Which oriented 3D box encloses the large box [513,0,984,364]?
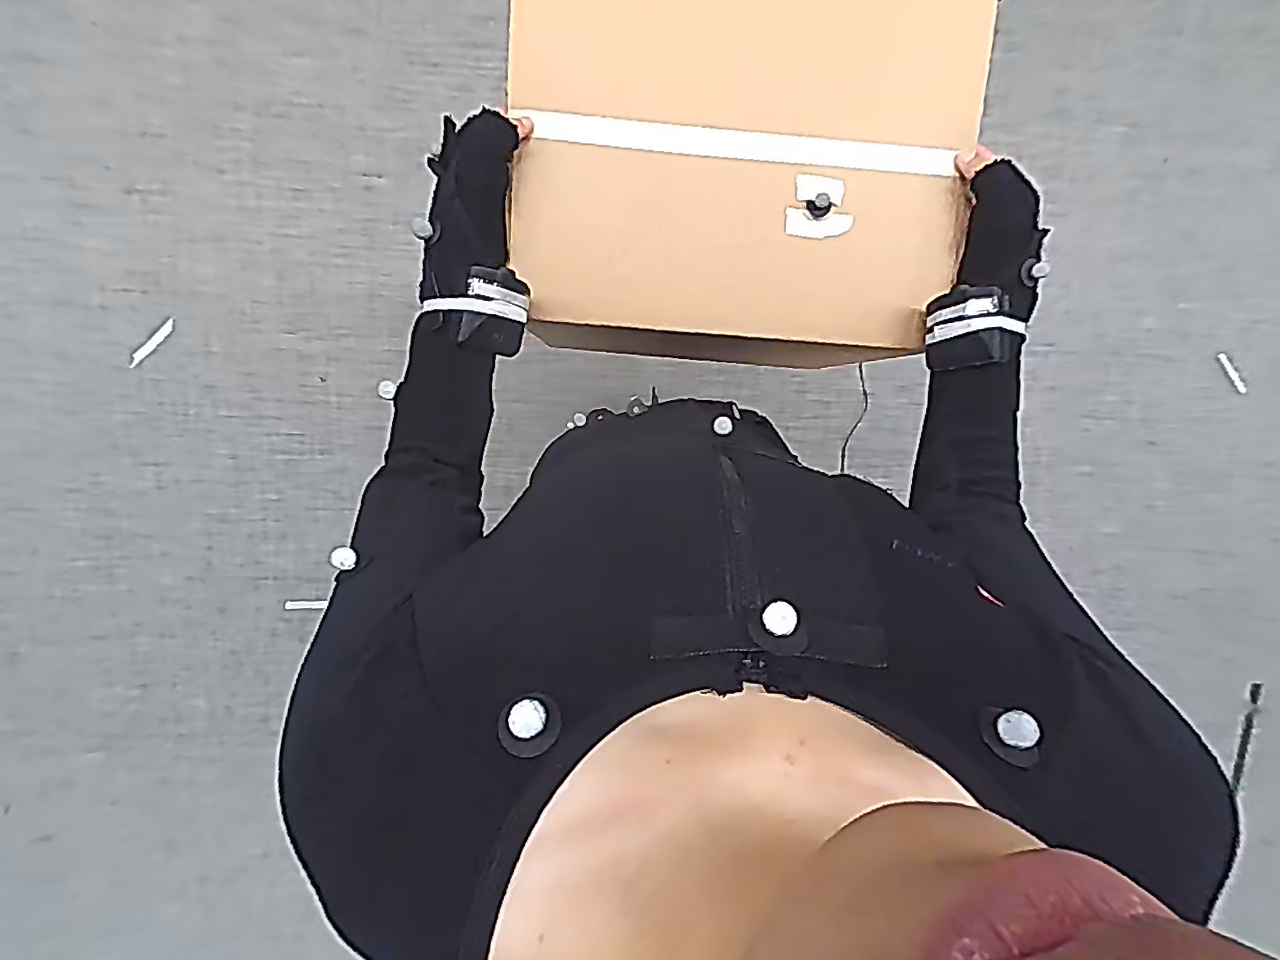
[{"bbox_3d":[0.081,-0.309,0.617,0.408,0.320,0.320,3,99,-4],"label":"large box"}]
